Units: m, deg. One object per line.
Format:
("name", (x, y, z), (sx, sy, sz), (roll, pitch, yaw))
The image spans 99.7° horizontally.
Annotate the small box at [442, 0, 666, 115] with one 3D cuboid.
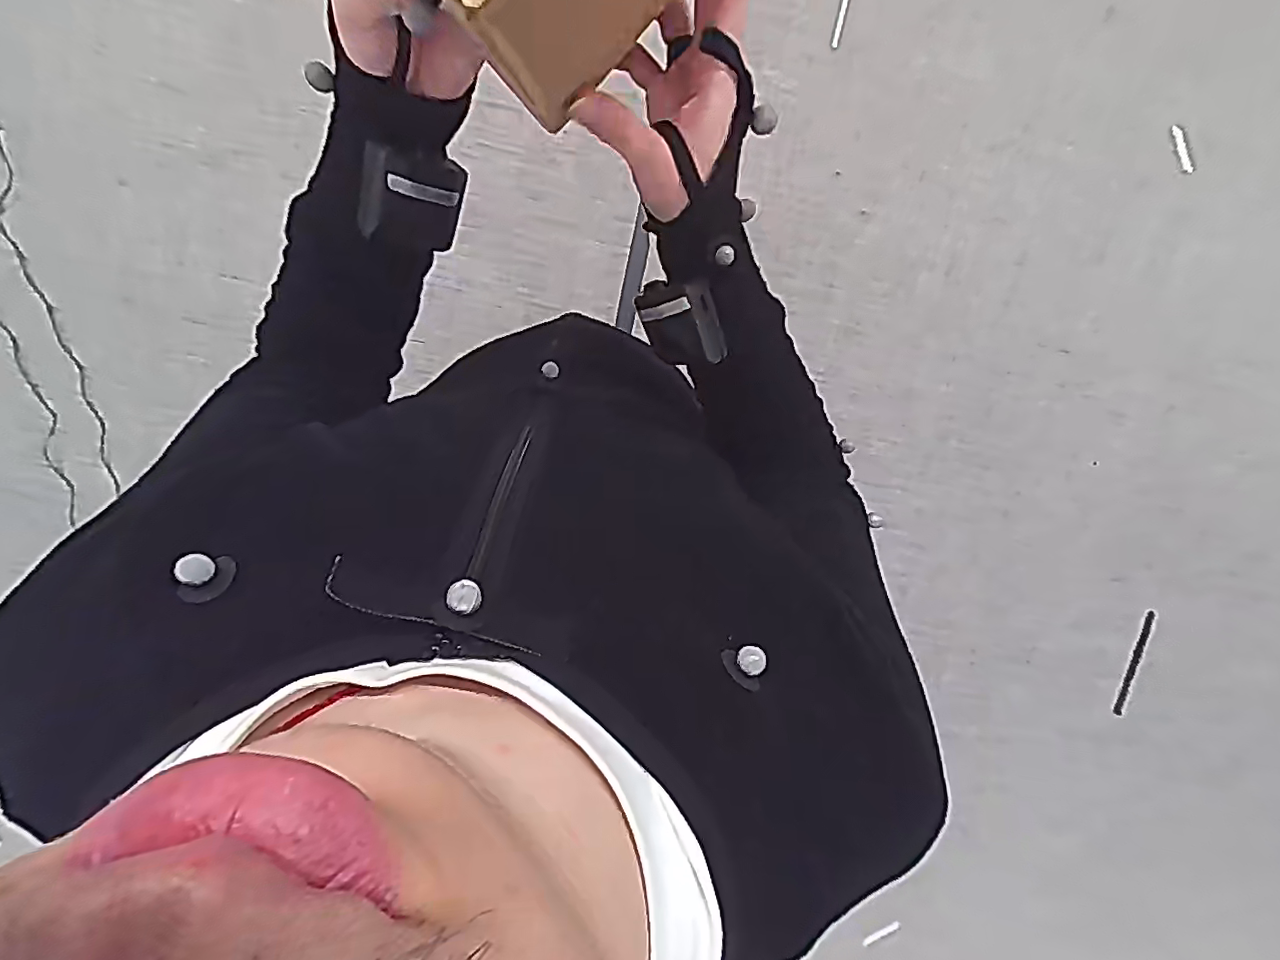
("small box", (-0.041, -0.278, 0.193), (0.179, 0.176, 0.168), (-41, 108, 14))
